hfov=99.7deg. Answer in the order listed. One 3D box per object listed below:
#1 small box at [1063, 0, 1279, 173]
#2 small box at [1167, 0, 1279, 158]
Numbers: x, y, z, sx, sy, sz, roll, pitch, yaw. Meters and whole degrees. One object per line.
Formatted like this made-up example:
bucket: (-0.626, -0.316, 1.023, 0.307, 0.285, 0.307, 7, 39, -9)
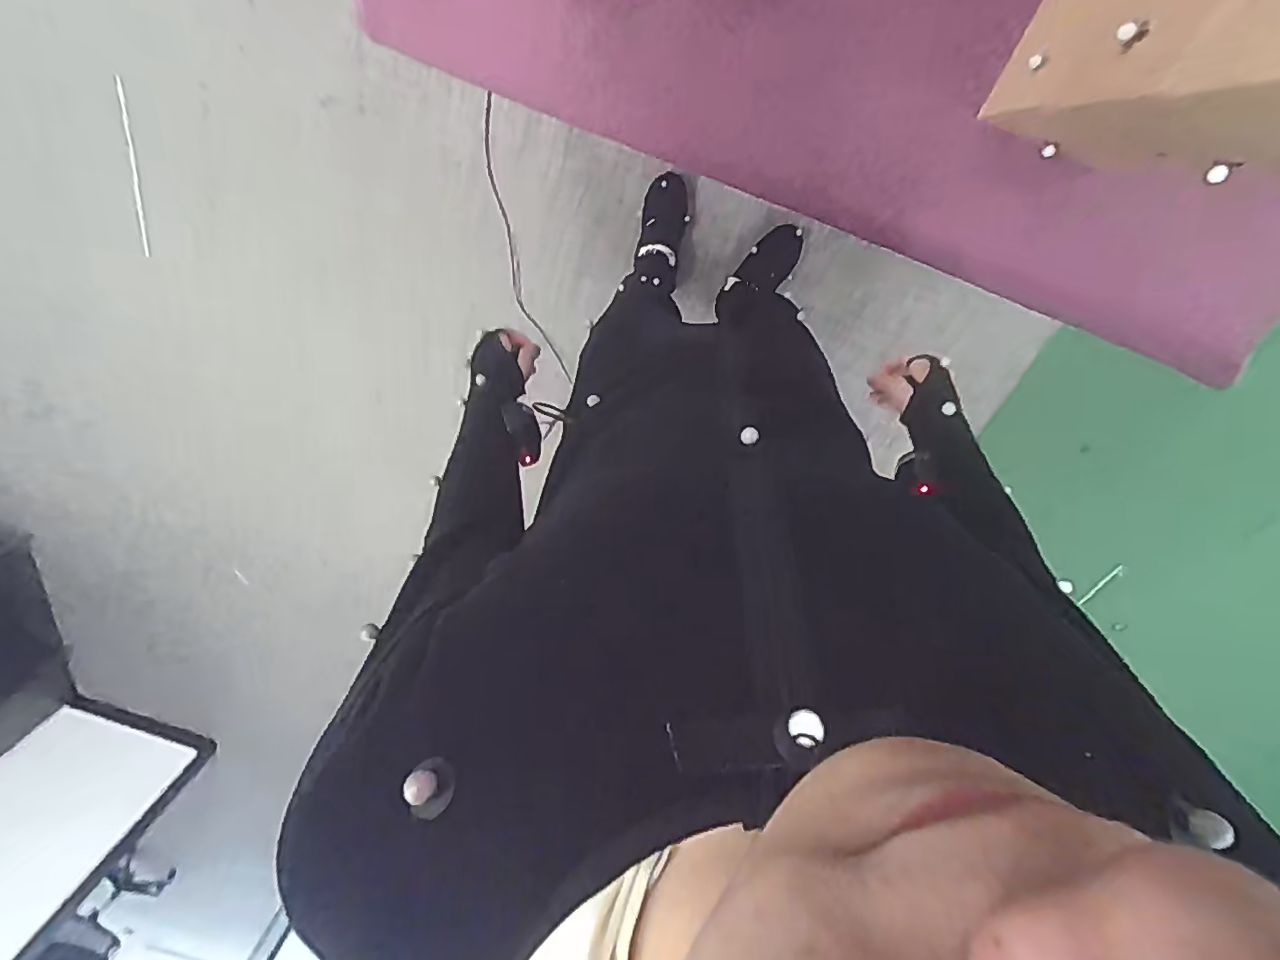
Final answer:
small box: (0.450, -0.333, 0.379, 0.168, 0.176, 0.179, 21, 122, -2)
small box: (0.428, -0.240, 0.245, 0.179, 0.176, 0.168, 23, 122, -3)
